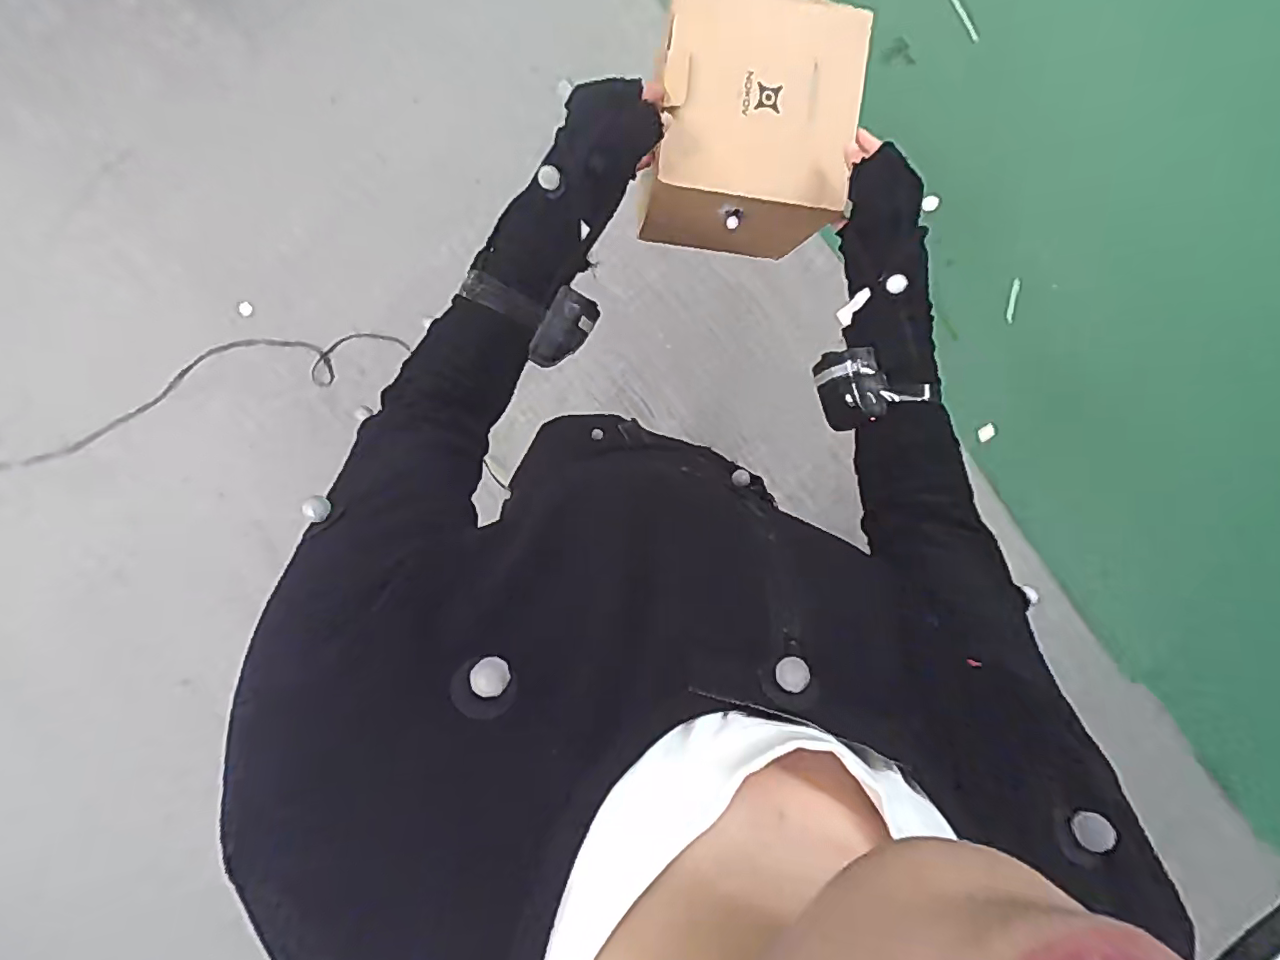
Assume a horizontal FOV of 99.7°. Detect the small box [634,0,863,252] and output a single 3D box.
[{"bbox_3d":[0.092,-0.343,0.546,0.179,0.176,0.168,3,98,-8],"label":"small box"}]
